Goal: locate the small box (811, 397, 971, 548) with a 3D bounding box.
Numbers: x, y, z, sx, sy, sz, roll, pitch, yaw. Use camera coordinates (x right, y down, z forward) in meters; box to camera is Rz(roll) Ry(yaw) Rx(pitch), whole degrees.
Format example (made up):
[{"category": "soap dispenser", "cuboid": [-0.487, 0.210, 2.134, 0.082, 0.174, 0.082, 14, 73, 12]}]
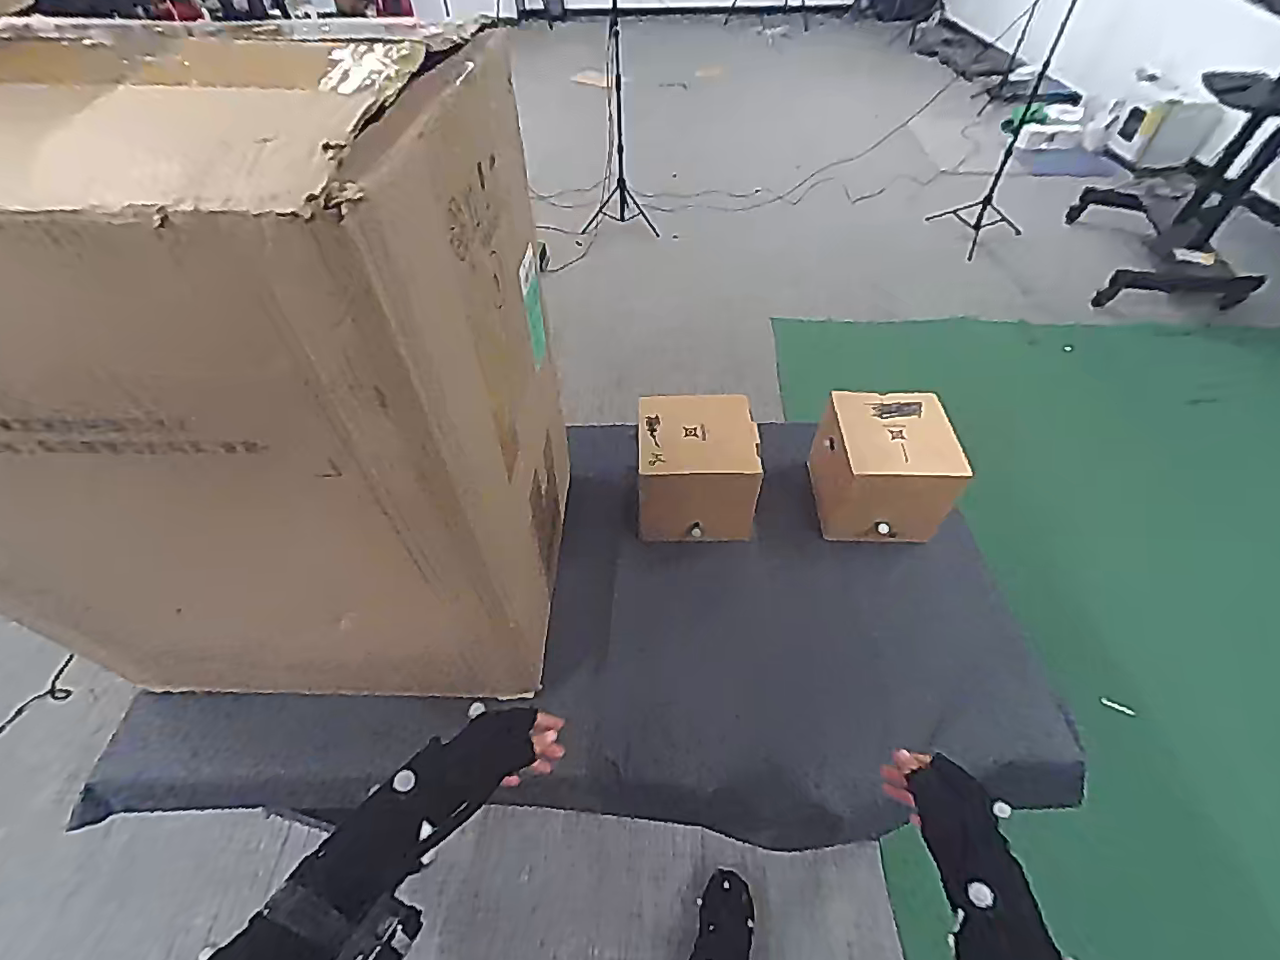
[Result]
[{"category": "small box", "cuboid": [0.384, -0.012, 0.869, 0.168, 0.176, 0.179, 1, 50, 2]}]
